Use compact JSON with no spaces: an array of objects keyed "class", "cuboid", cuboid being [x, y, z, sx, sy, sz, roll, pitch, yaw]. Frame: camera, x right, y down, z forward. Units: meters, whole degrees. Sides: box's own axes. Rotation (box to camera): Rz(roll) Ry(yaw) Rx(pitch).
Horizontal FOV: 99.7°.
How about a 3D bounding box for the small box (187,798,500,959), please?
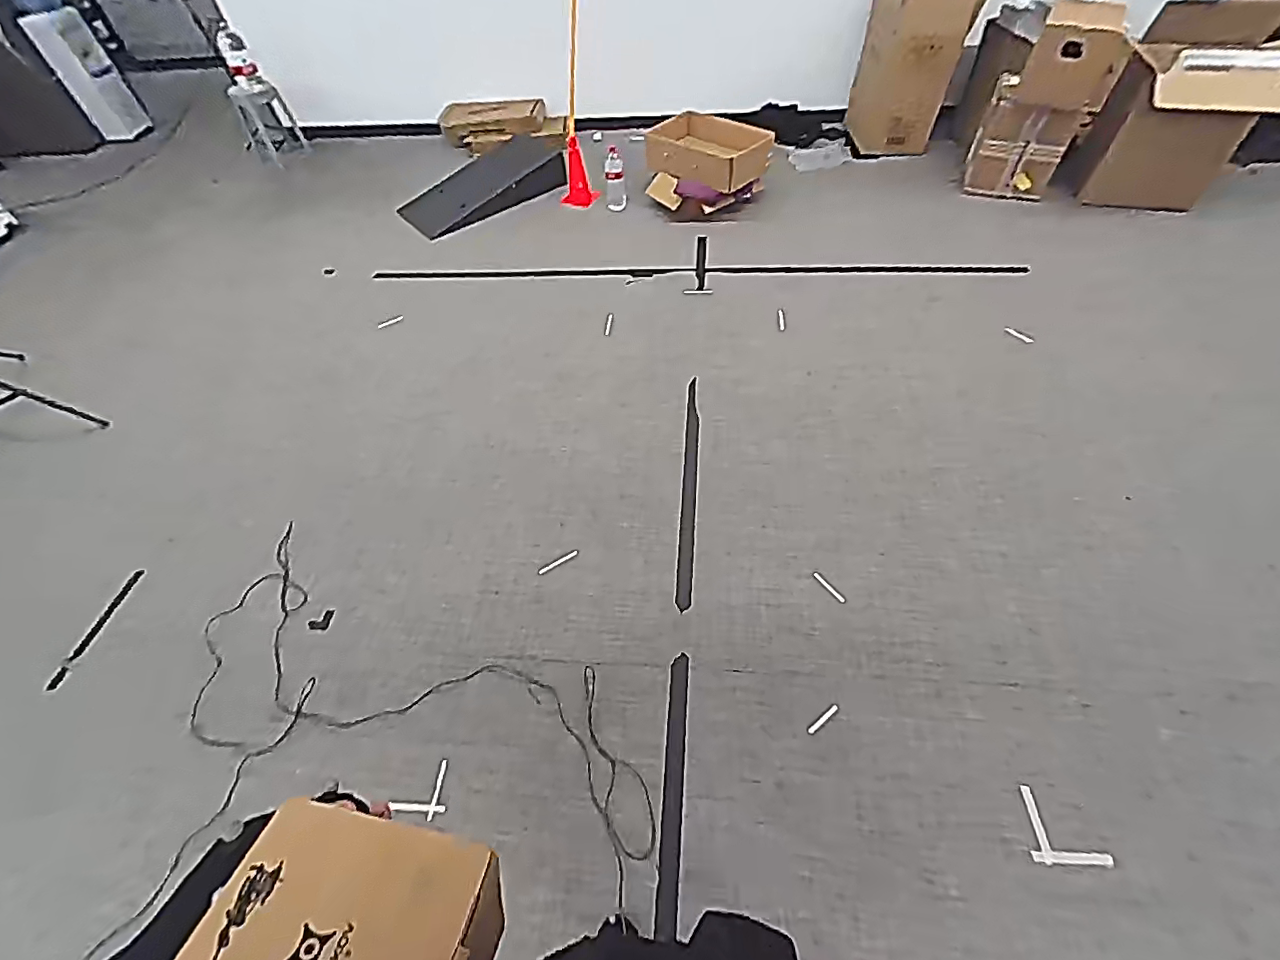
[{"class":"small box","cuboid":[-0.216,0.382,0.408,0.179,0.176,0.168,12,35,5]}]
